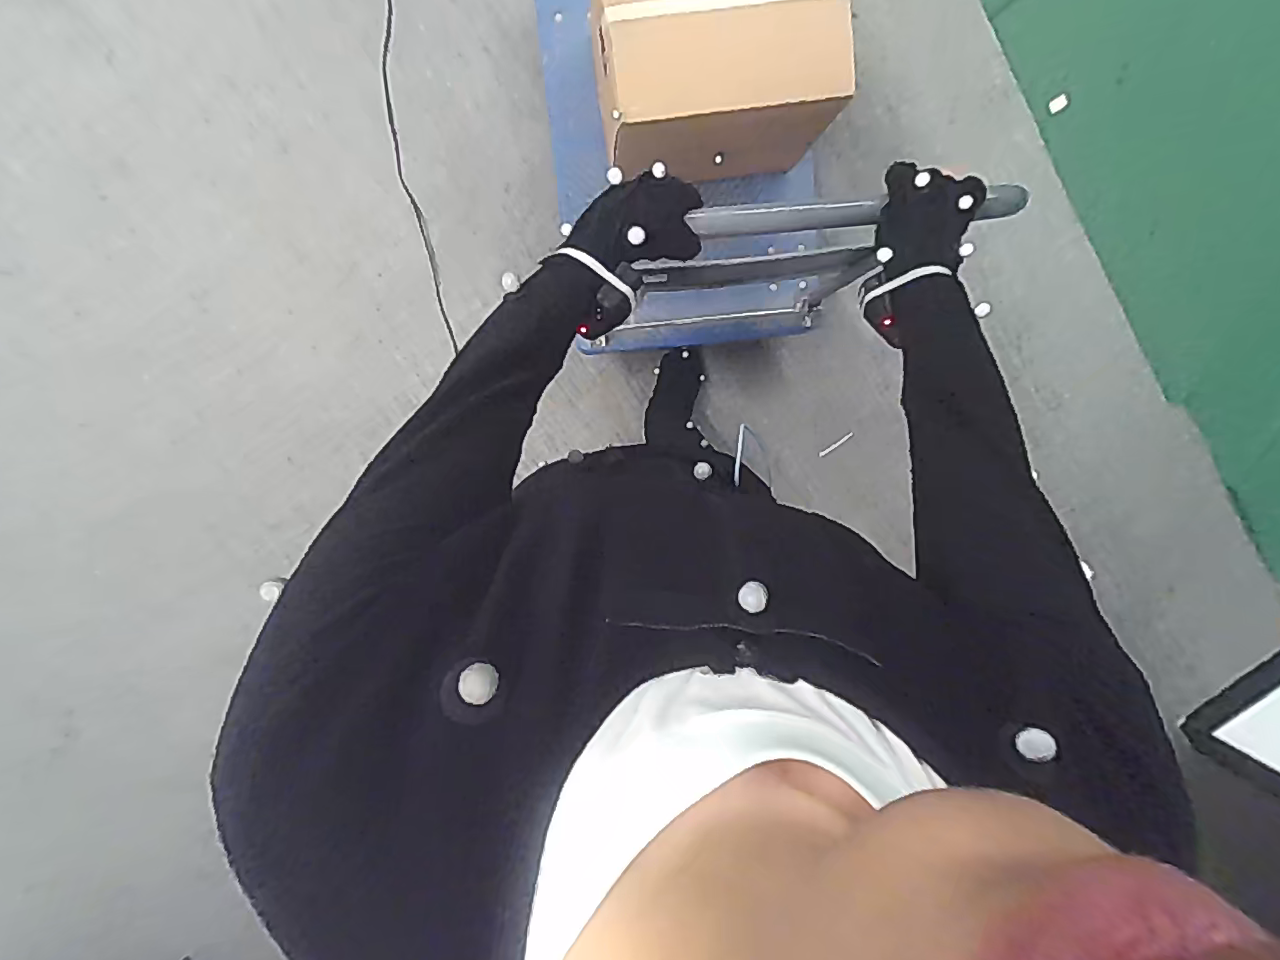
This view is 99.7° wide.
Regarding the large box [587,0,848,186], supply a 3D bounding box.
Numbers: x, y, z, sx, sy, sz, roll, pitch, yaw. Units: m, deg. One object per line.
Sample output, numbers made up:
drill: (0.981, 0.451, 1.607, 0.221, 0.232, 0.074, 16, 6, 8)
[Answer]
large box: (0.124, -0.796, 1.022, 0.408, 0.320, 0.320, -9, 99, -3)
